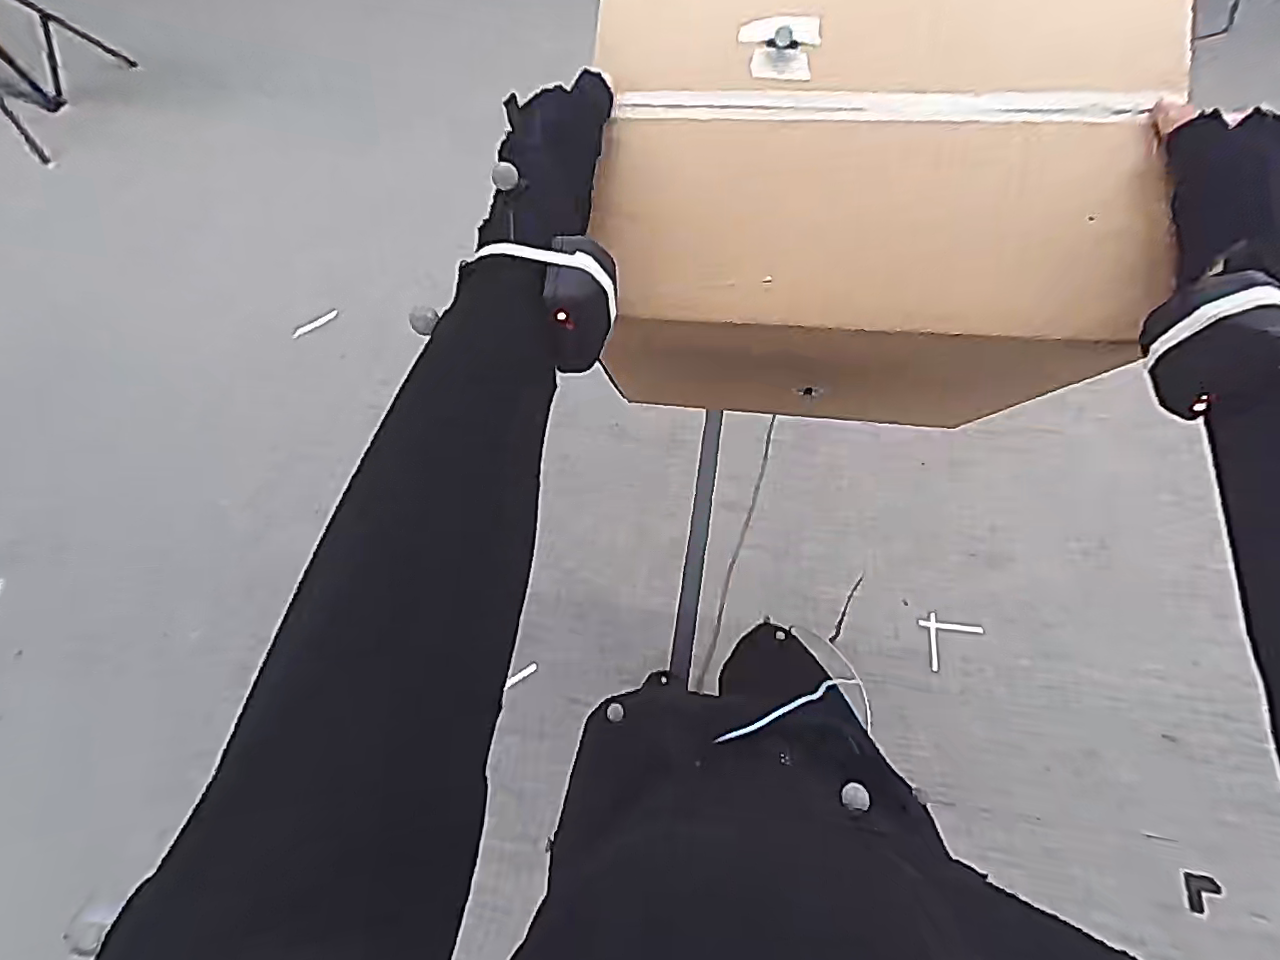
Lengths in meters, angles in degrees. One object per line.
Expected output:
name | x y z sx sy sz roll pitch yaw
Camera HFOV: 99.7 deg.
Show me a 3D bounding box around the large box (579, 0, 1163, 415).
large box | 0.183 -0.253 0.549 0.408 0.320 0.320 6 86 8
